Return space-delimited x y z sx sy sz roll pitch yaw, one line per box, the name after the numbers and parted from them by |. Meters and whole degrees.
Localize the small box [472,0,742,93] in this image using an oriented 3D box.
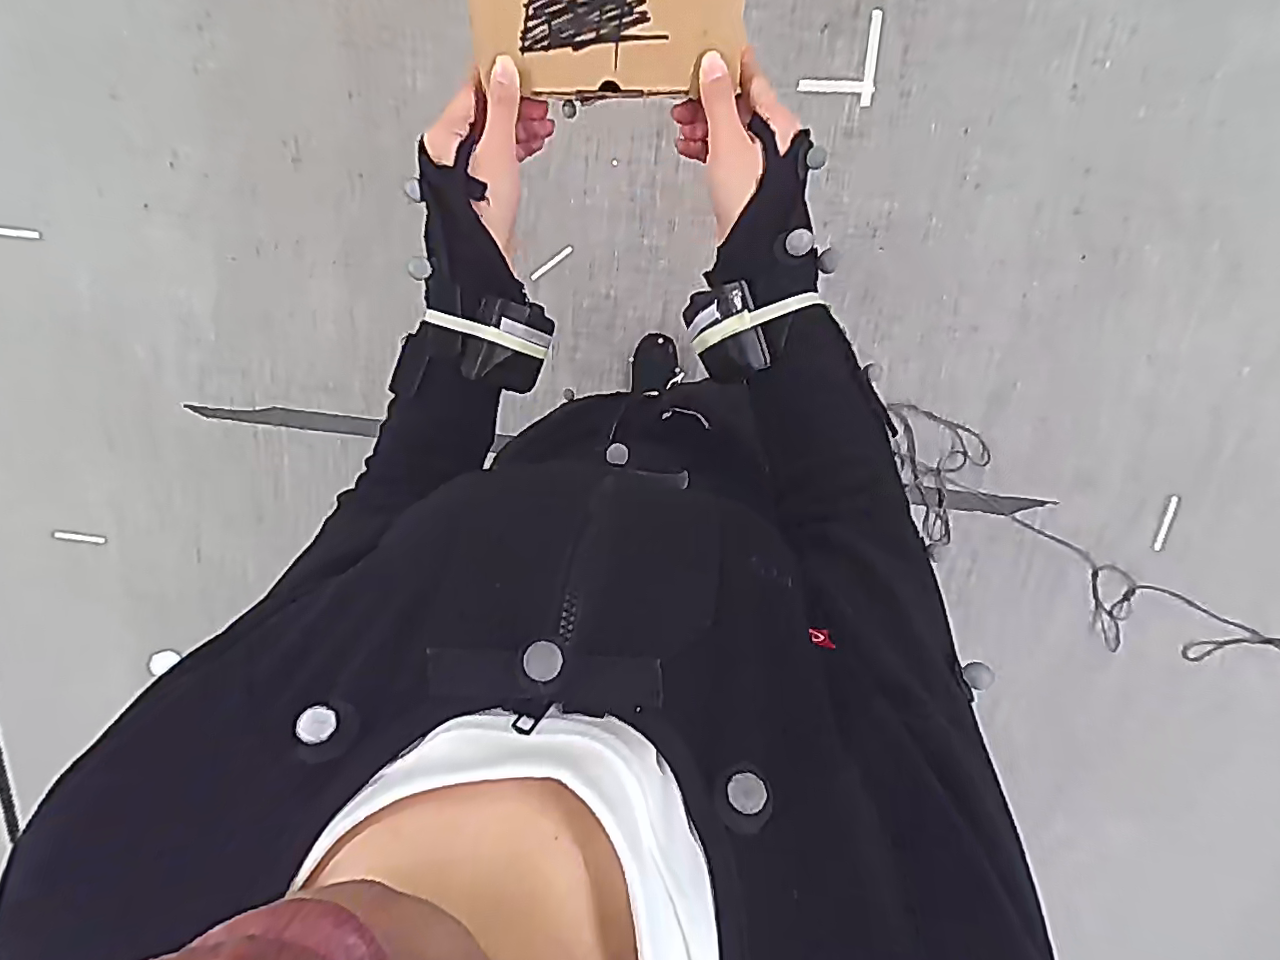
-0.014 -0.367 0.361 0.168 0.176 0.179 2 124 3 | small box
